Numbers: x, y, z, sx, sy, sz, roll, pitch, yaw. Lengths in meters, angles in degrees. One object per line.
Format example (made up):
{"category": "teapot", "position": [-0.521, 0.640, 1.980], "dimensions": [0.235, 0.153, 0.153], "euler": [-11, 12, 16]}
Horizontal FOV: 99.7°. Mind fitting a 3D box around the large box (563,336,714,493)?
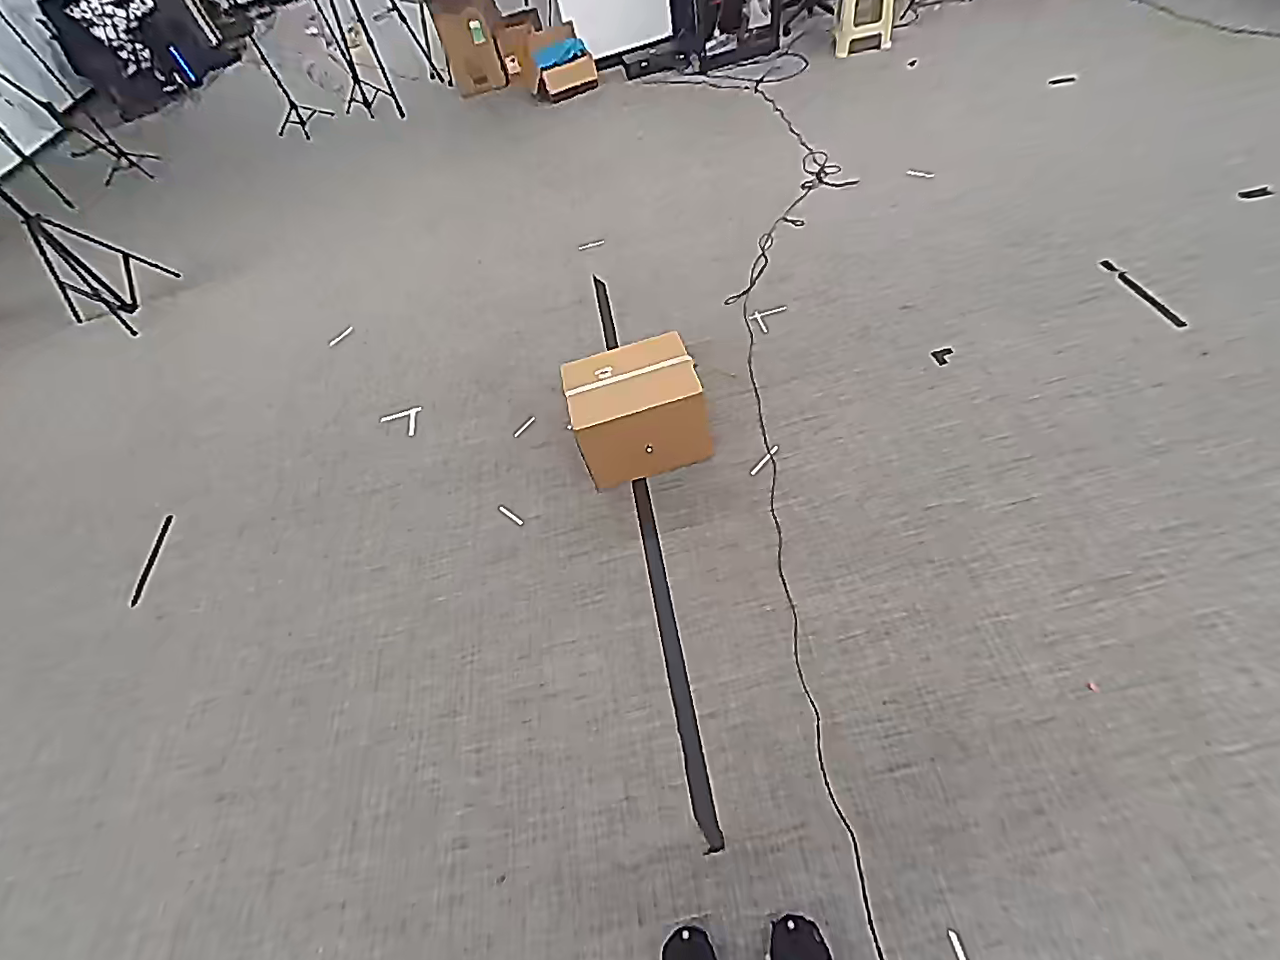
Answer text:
{"category": "large box", "position": [-0.002, -0.211, 1.786], "dimensions": [0.408, 0.320, 0.320], "euler": [-17, 50, 2]}
